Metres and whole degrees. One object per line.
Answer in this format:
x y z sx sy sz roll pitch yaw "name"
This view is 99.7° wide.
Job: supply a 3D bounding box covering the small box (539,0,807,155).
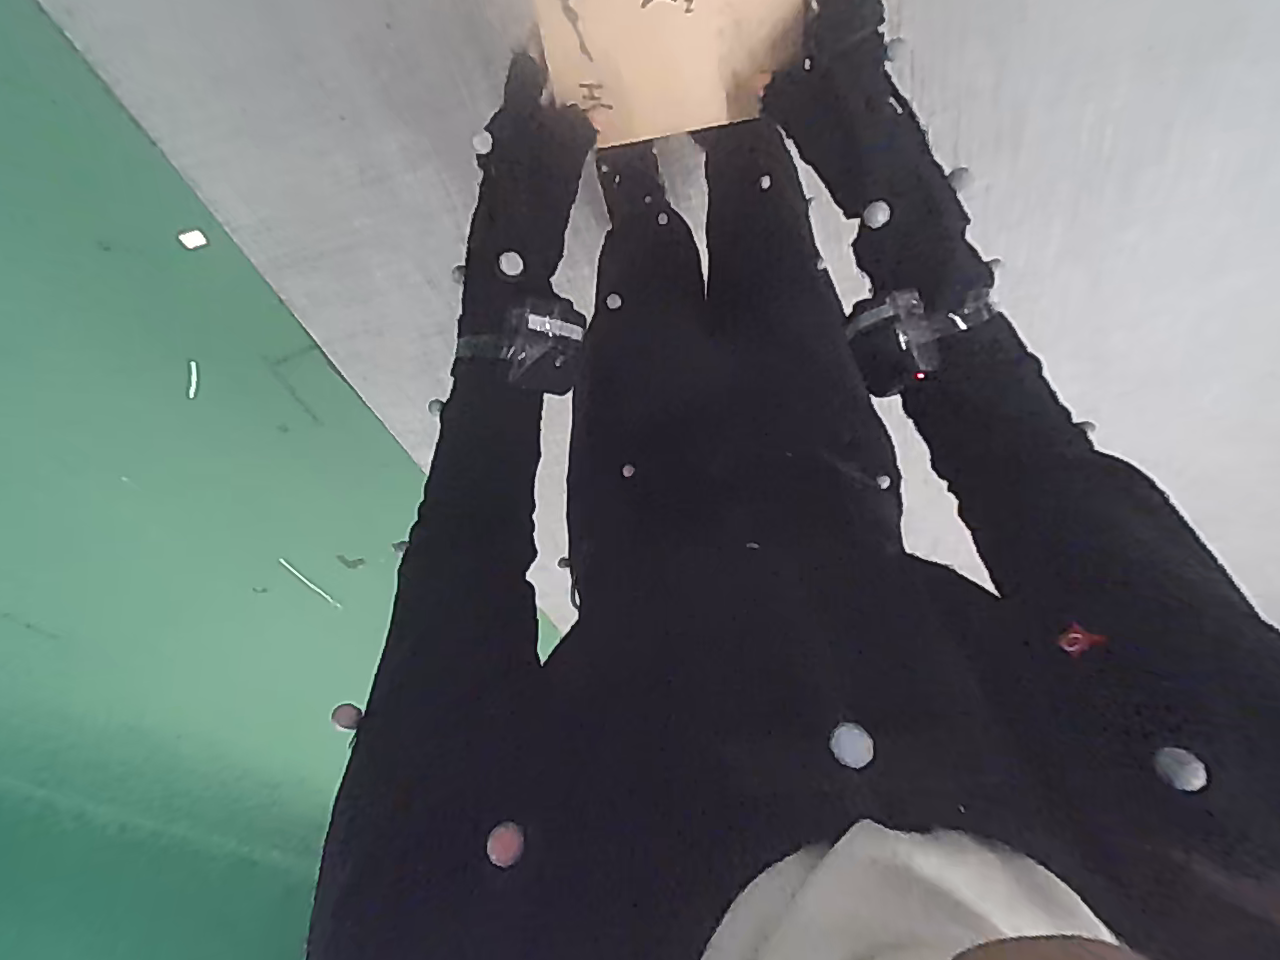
0.015 -0.371 0.402 0.179 0.176 0.168 -9 136 3 "small box"
